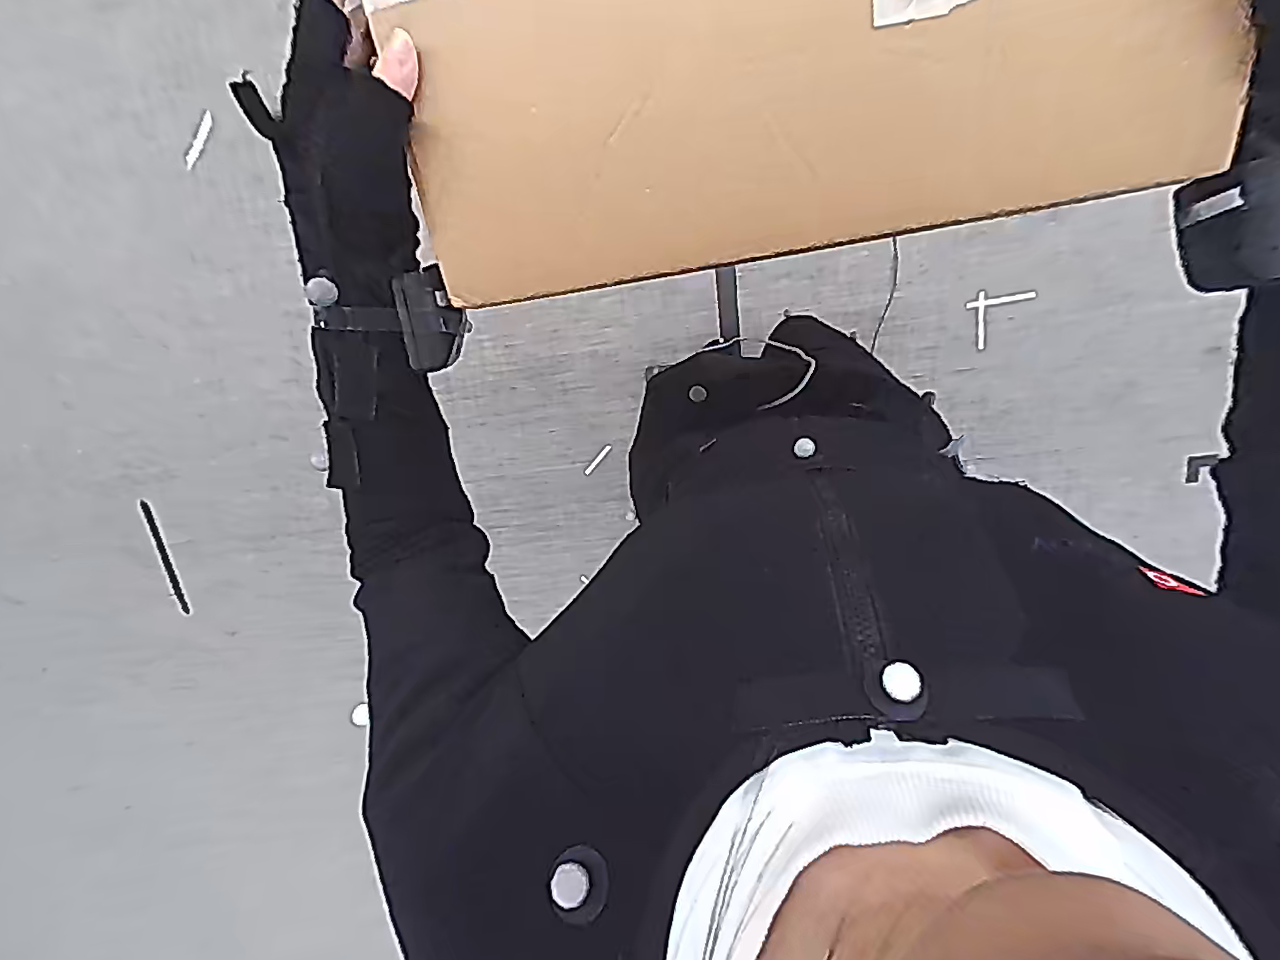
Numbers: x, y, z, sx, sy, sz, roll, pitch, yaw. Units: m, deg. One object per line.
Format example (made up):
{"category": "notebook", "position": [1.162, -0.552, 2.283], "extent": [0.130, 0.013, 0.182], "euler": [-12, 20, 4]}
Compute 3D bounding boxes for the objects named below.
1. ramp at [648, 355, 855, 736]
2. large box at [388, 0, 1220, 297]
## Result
{"category": "ramp", "position": [0.293, 0.190, 1.434], "extent": [0.509, 0.206, 0.991], "euler": [-5, 103, 9]}
{"category": "large box", "position": [0.073, -0.334, 0.389], "extent": [0.408, 0.320, 0.320], "euler": [-7, 112, 8]}
